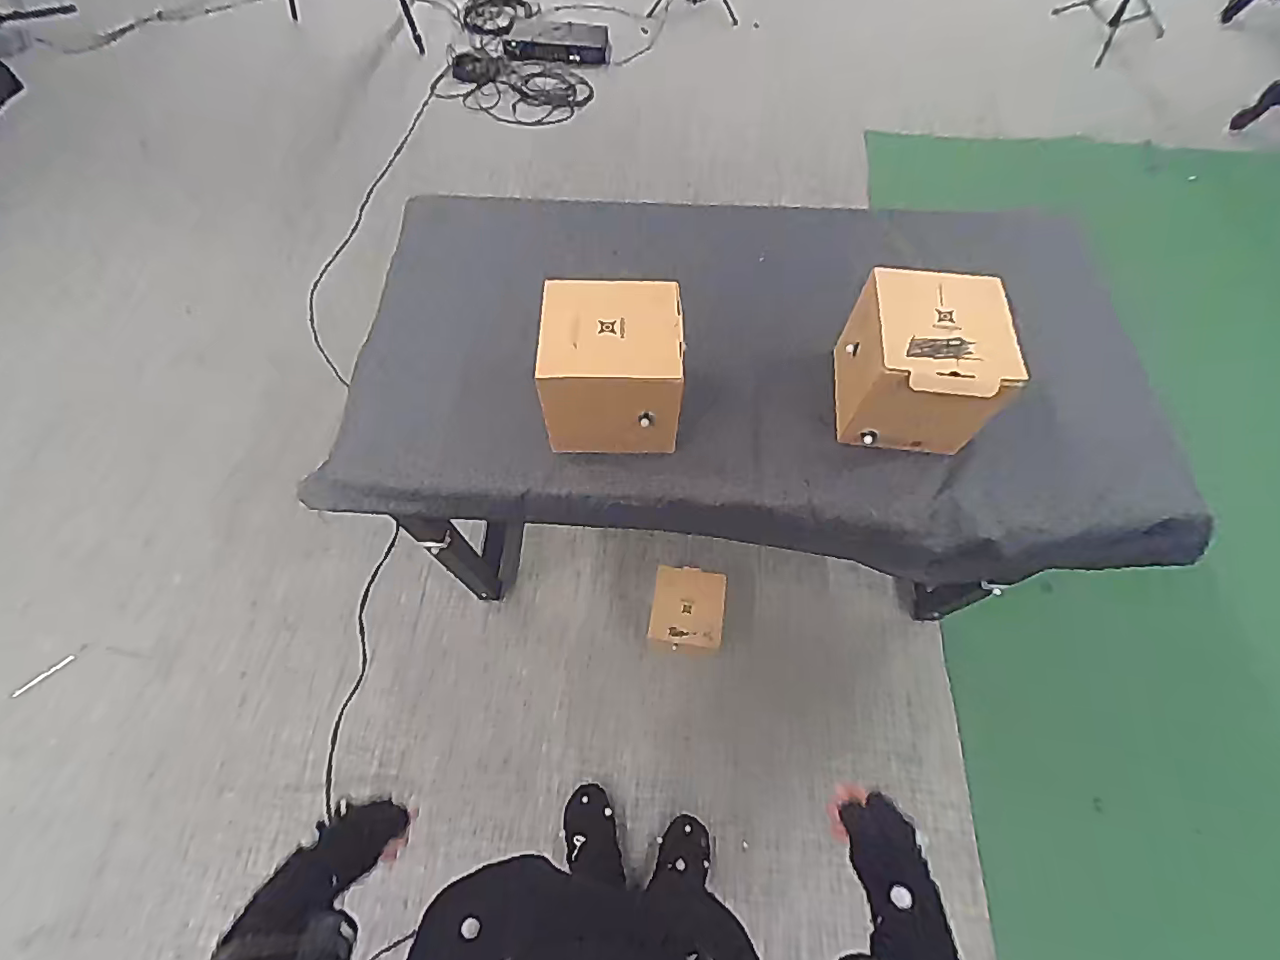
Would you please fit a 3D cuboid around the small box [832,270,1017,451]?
[{"bbox_3d":[0.372,-0.157,0.744,0.168,0.176,0.179,6,63,4],"label":"small box"}]

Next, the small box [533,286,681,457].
[{"bbox_3d":[-0.040,-0.143,0.741,0.179,0.176,0.168,-1,61,0],"label":"small box"}]
